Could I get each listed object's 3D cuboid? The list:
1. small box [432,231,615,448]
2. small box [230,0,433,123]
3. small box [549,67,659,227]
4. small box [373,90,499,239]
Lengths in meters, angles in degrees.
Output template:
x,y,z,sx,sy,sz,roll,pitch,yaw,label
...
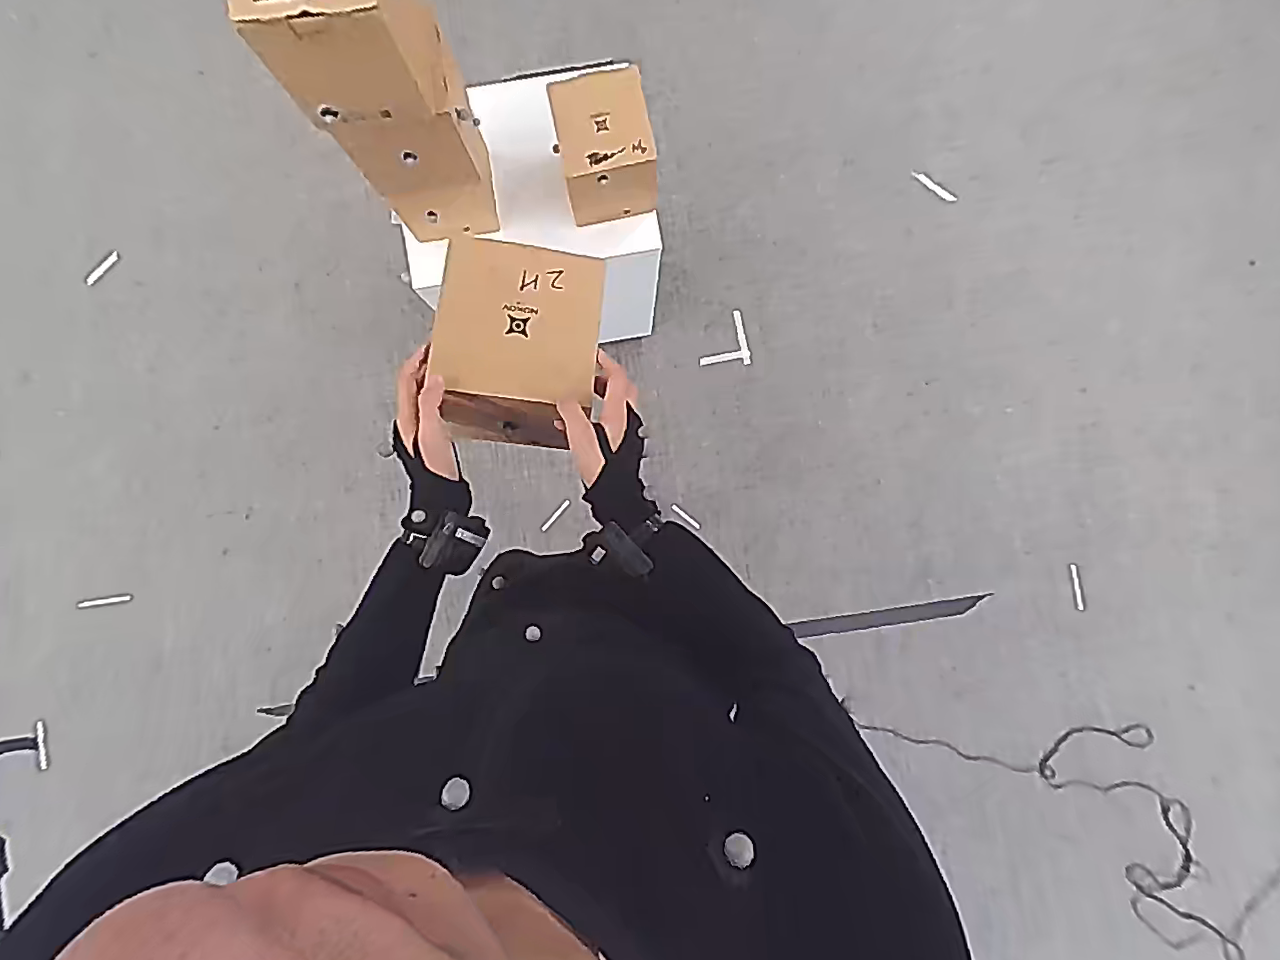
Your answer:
x,y,z,sx,sy,sz,roll,pitch,yaw,label
-0.128,-0.147,0.629,0.168,0.176,0.179,7,76,-9,small box
-0.372,-0.580,0.675,0.168,0.176,0.179,-6,86,-1,small box
-0.063,-0.610,1.007,0.168,0.176,0.179,-12,87,0,small box
-0.369,-0.570,1.004,0.168,0.176,0.179,-9,87,-2,small box
